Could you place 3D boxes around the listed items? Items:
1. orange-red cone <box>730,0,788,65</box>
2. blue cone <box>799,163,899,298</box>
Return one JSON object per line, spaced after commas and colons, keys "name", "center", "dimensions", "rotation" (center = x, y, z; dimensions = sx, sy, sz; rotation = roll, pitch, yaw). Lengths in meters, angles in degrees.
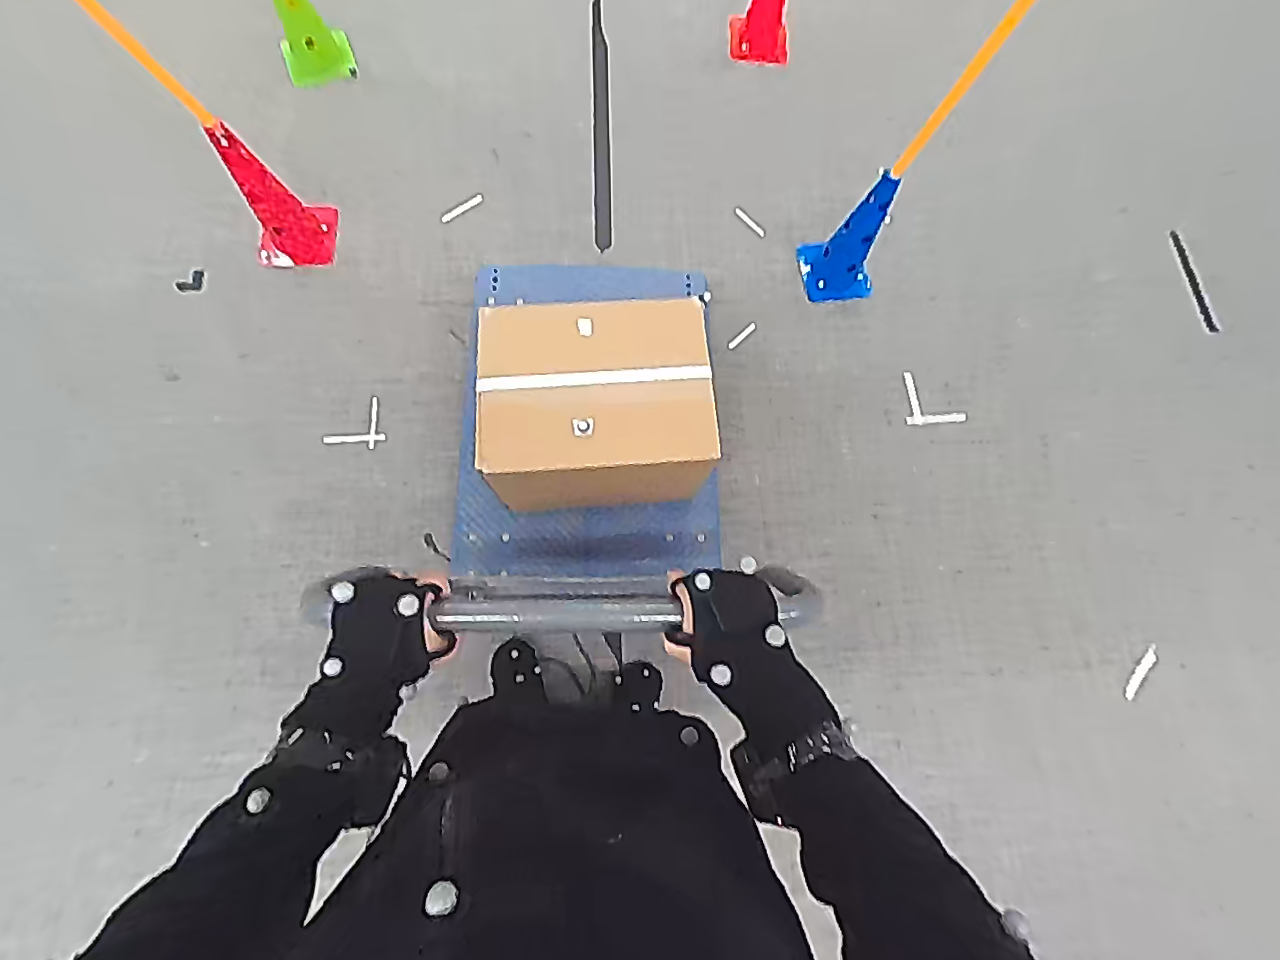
{"name": "orange-red cone", "center": [0.419, -1.541, 1.673], "dimensions": [0.199, 0.360, 0.198], "rotation": [5, 75, -3]}
{"name": "blue cone", "center": [0.589, -0.673, 1.453], "dimensions": [0.193, 0.380, 0.192], "rotation": [-6, 73, -6]}
